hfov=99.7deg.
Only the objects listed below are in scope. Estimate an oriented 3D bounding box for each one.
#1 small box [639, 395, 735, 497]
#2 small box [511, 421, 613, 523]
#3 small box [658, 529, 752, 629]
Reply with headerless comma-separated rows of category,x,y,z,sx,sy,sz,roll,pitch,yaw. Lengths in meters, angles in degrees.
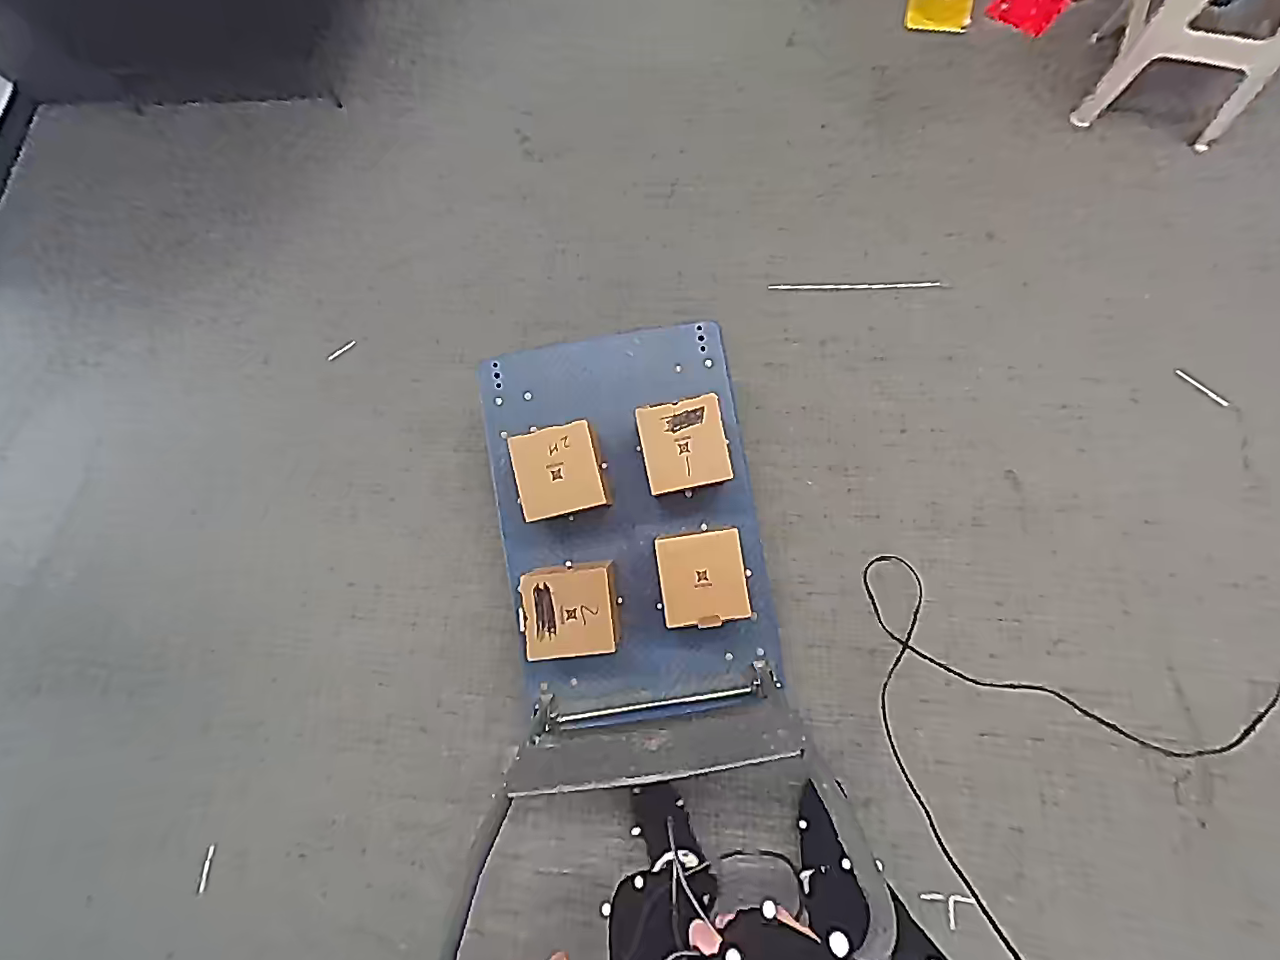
small box,0.095,-0.064,1.139,0.168,0.176,0.179,-11,87,3
small box,-0.157,-0.013,1.150,0.168,0.176,0.179,-13,86,2
small box,0.127,0.197,1.125,0.168,0.176,0.179,-8,87,3
